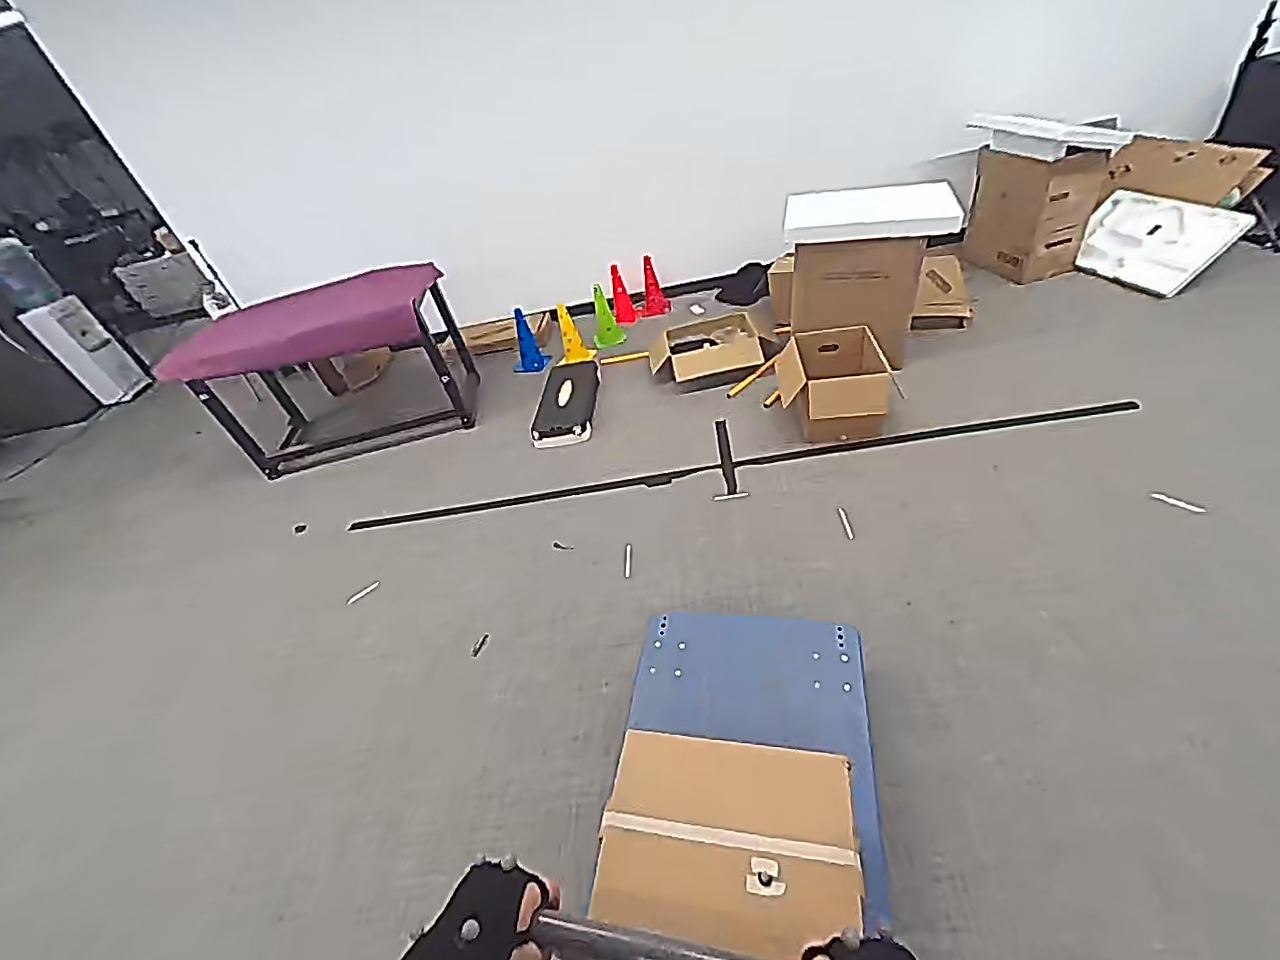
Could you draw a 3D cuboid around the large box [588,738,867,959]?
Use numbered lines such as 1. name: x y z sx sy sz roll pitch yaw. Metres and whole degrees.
1. large box: 0.162 0.700 0.961 0.408 0.320 0.320 0 42 15
